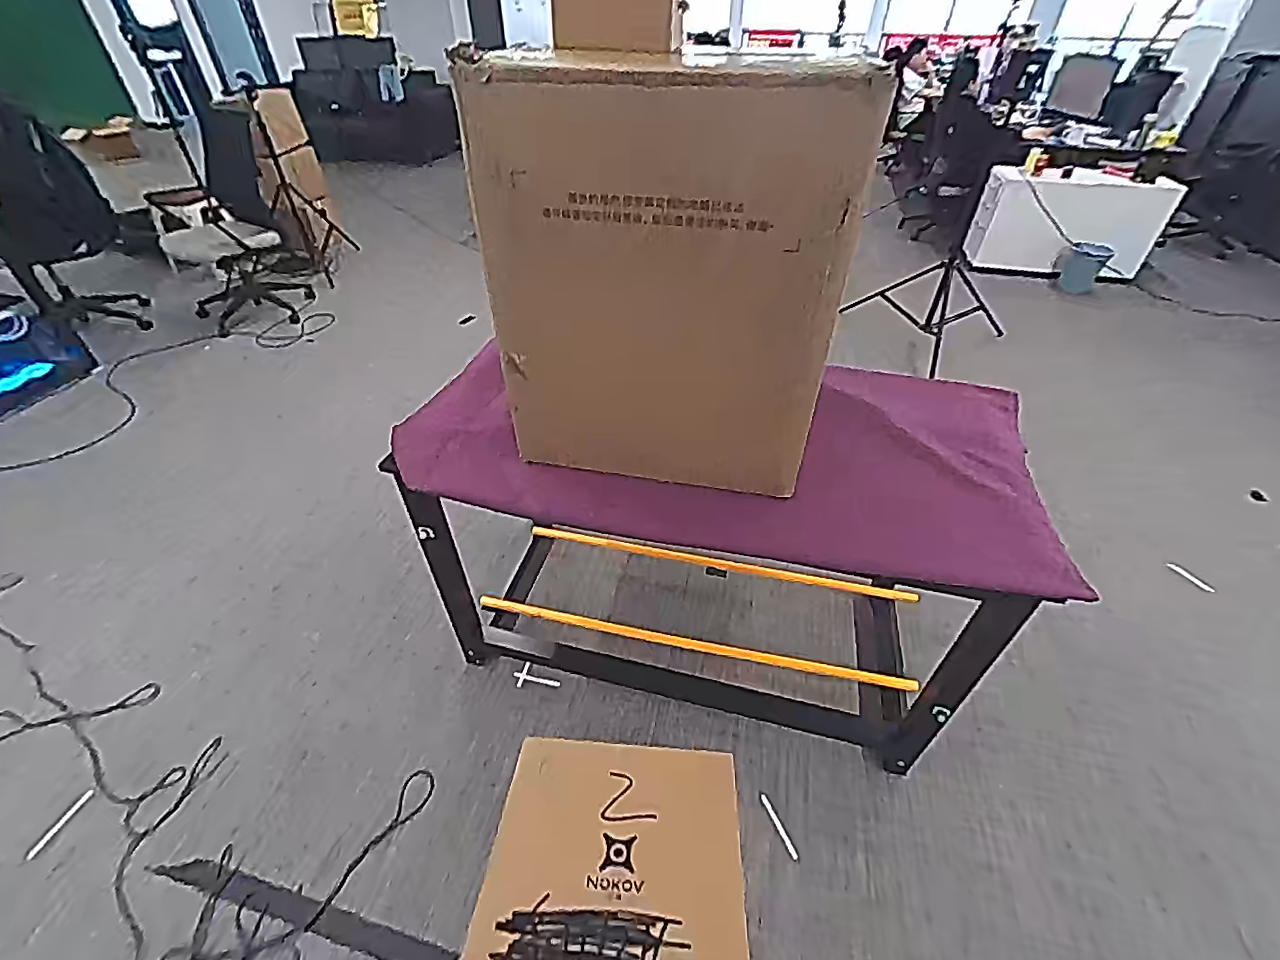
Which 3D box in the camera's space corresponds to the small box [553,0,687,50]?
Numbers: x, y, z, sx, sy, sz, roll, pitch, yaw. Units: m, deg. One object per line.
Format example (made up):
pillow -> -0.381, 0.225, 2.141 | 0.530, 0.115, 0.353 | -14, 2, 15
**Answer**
small box -> -0.026, -0.732, 0.781 | 0.179, 0.176, 0.168 | 8, 42, 6
